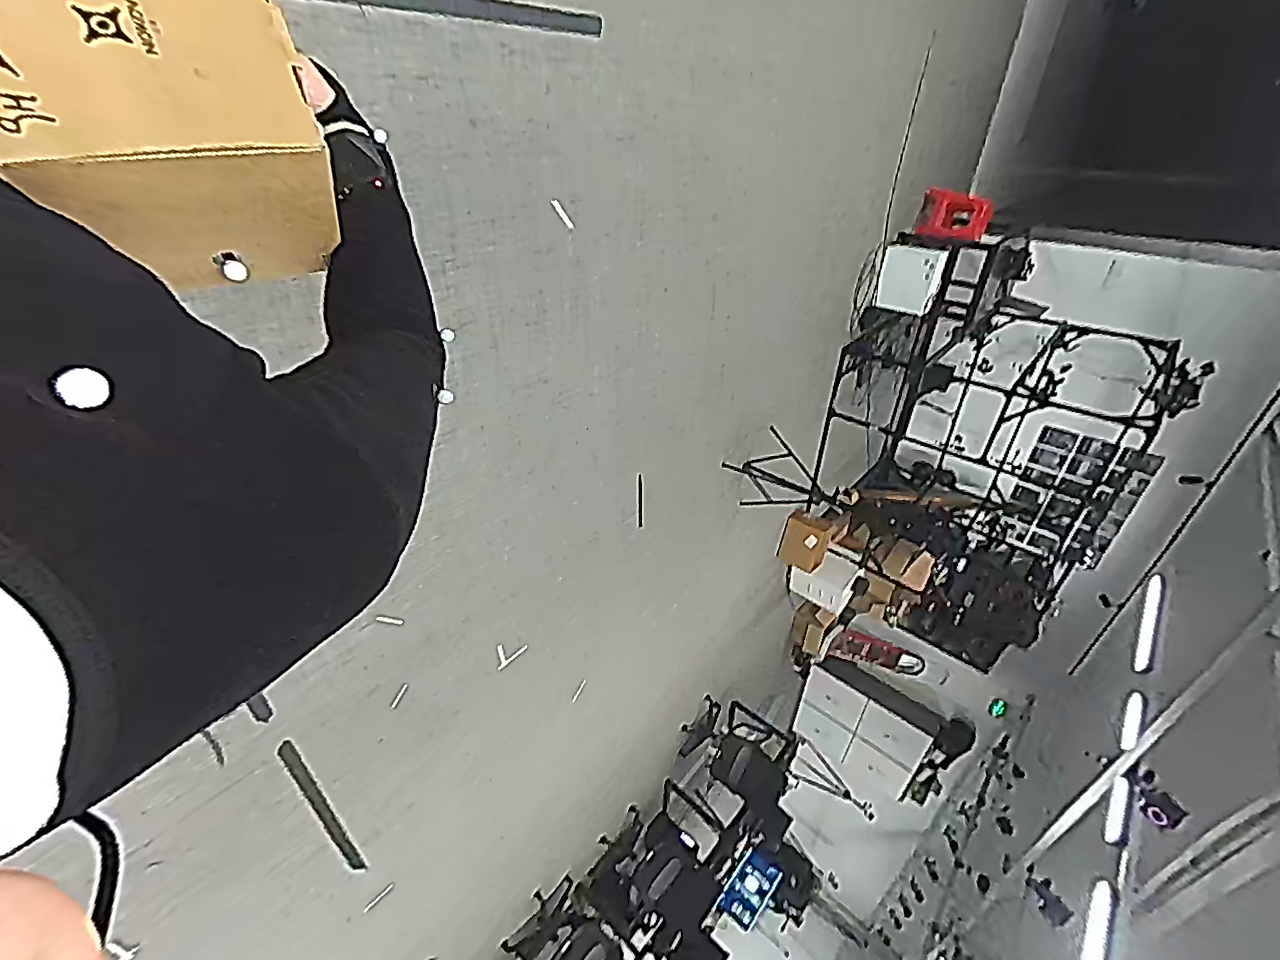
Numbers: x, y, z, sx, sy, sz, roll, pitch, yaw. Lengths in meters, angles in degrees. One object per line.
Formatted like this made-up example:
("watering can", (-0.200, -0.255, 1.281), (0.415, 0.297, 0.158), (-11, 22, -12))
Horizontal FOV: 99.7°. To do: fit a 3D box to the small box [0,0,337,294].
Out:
("small box", (-0.356, -0.267, 0.422), (0.179, 0.176, 0.168), (-21, 90, -27))
